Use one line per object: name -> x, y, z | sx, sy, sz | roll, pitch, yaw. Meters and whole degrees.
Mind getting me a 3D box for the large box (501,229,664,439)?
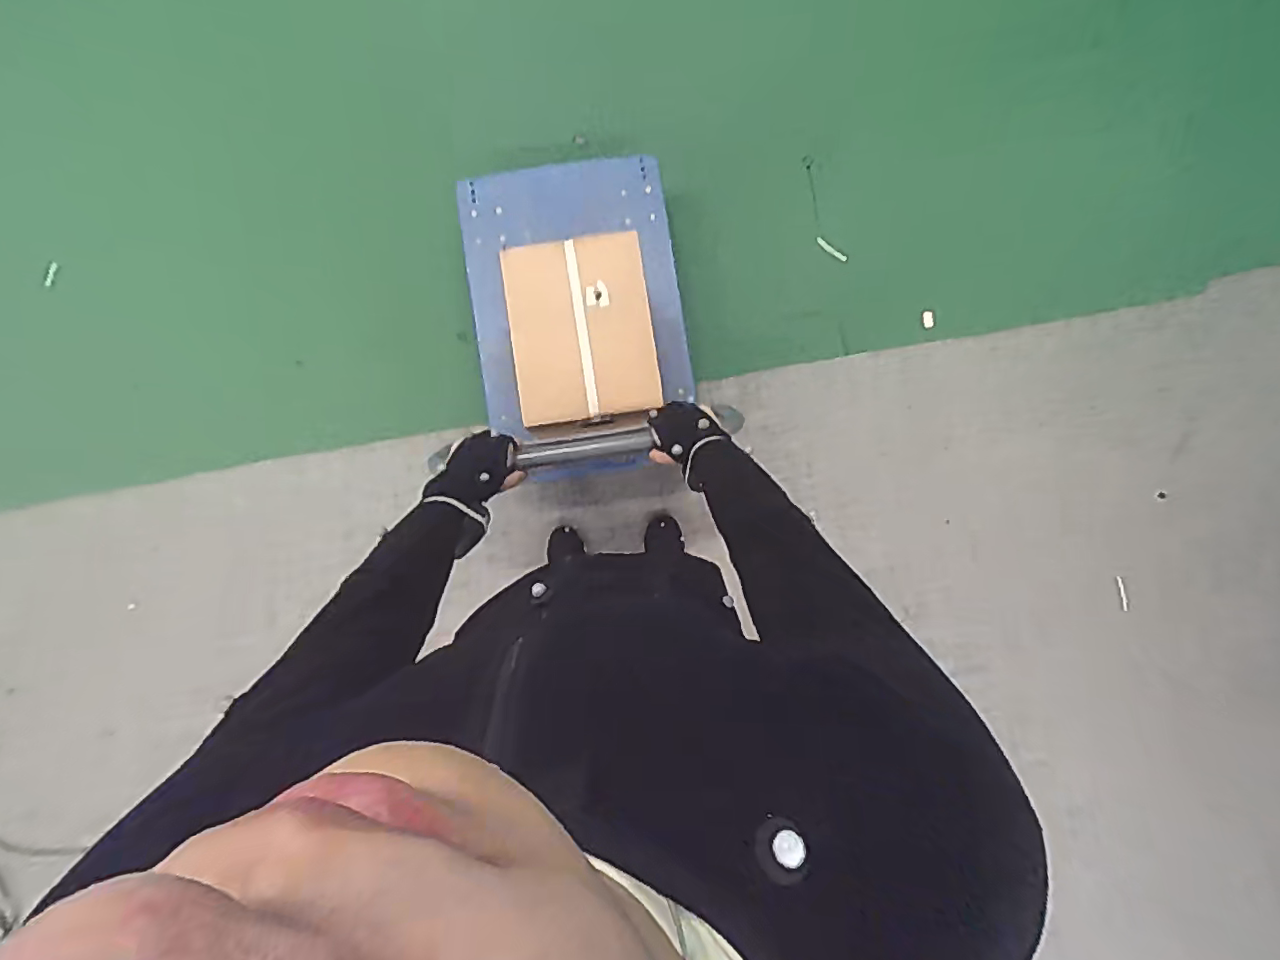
large box -> -0.129, -0.336, 1.348 | 0.320, 0.320, 0.408 | -8, 87, -2
